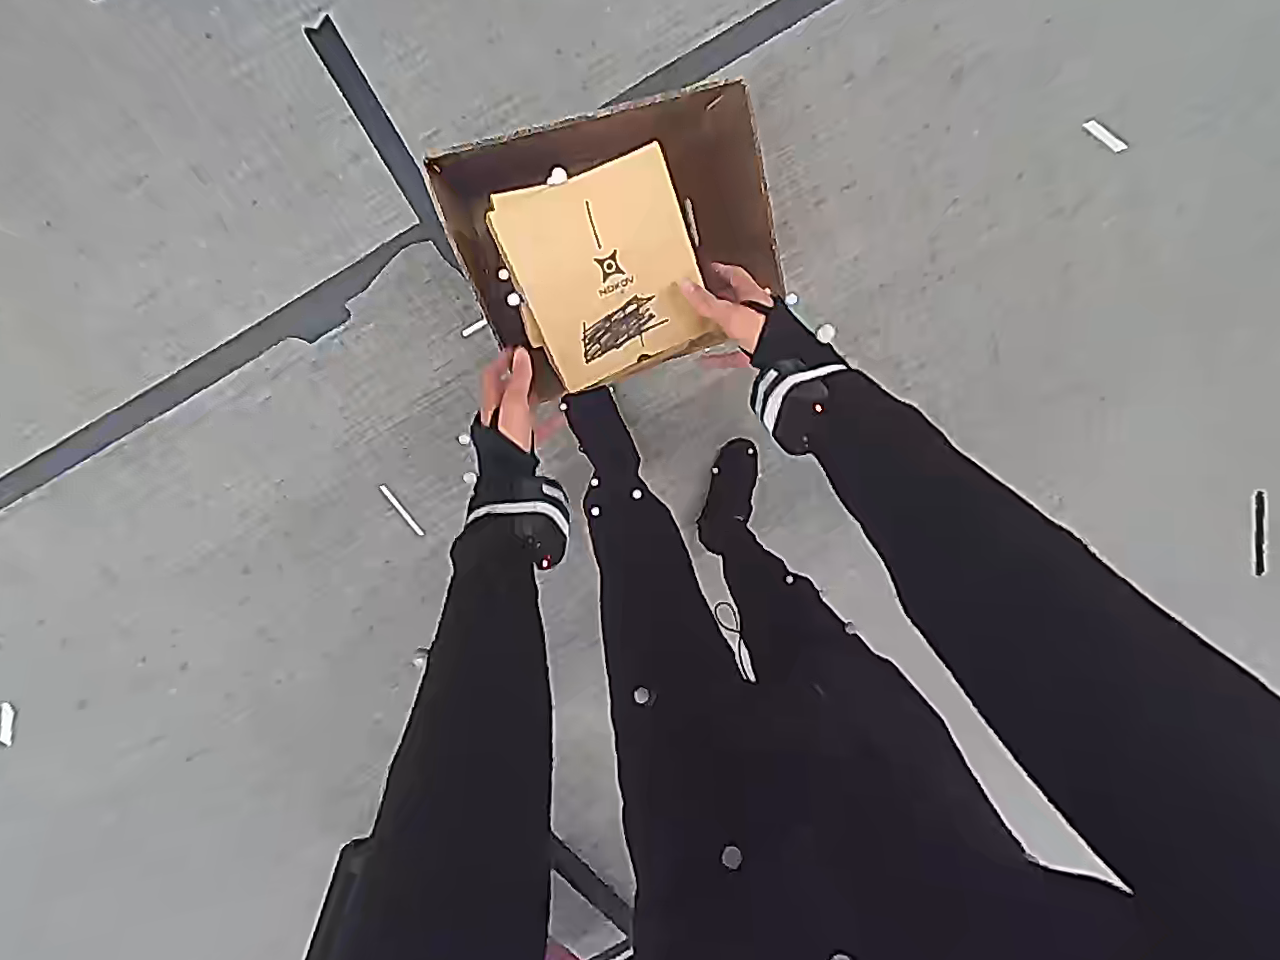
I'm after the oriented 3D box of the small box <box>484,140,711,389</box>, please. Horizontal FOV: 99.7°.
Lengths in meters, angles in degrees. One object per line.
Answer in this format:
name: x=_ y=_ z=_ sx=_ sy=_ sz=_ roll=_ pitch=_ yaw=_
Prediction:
small box: x=-0.049 y=-0.222 z=0.570 sx=0.168 sy=0.176 sz=0.179 roll=-25 pitch=116 yaw=-5
